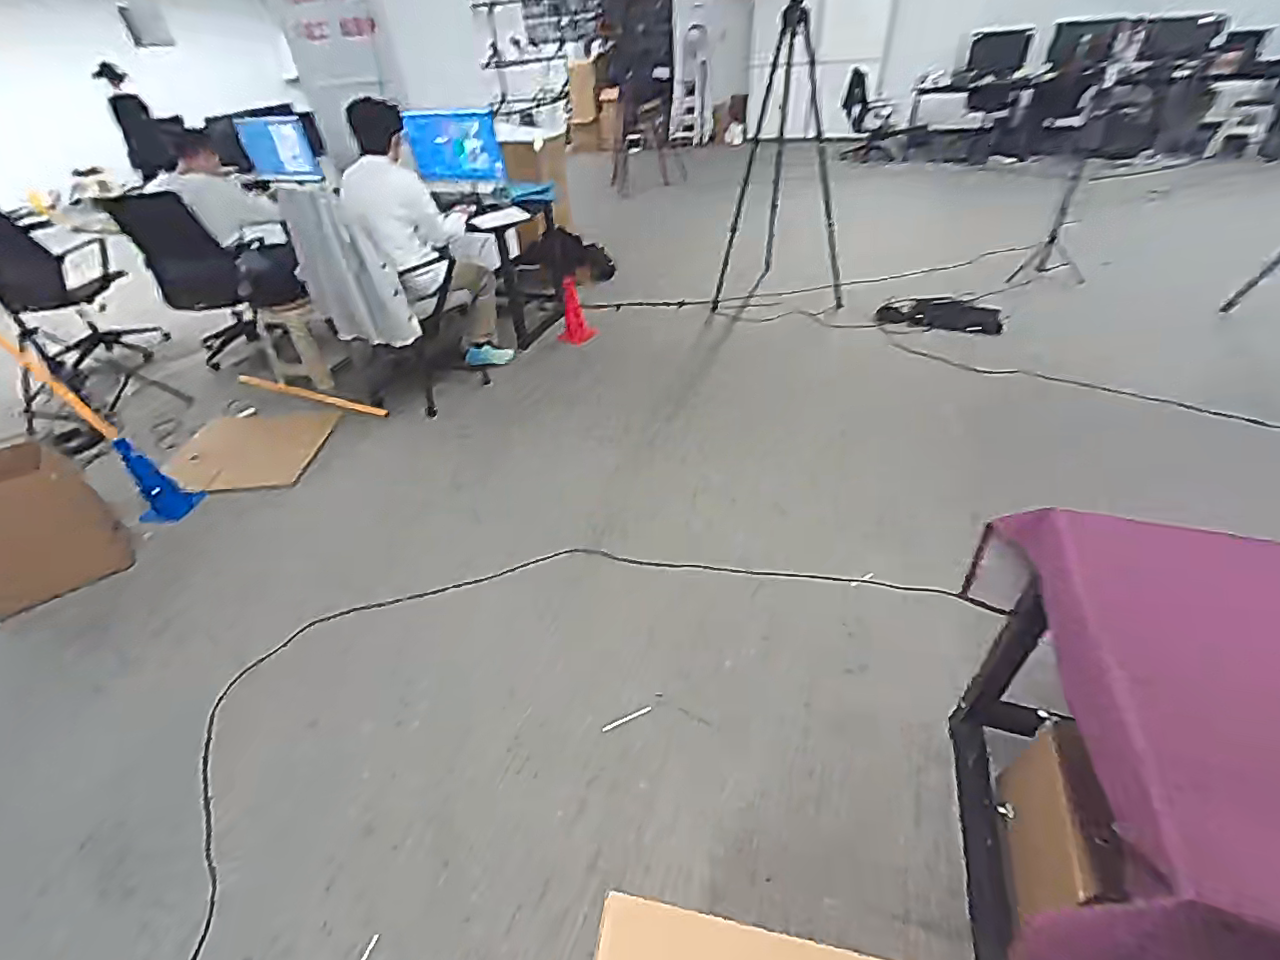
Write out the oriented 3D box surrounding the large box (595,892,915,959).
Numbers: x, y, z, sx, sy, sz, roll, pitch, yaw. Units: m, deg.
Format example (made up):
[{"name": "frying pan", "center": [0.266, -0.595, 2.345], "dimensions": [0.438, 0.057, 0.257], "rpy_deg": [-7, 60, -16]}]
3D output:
[{"name": "large box", "center": [0.130, 0.629, 0.485], "dimensions": [0.408, 0.320, 0.320], "rpy_deg": [11, 45, 5]}]
